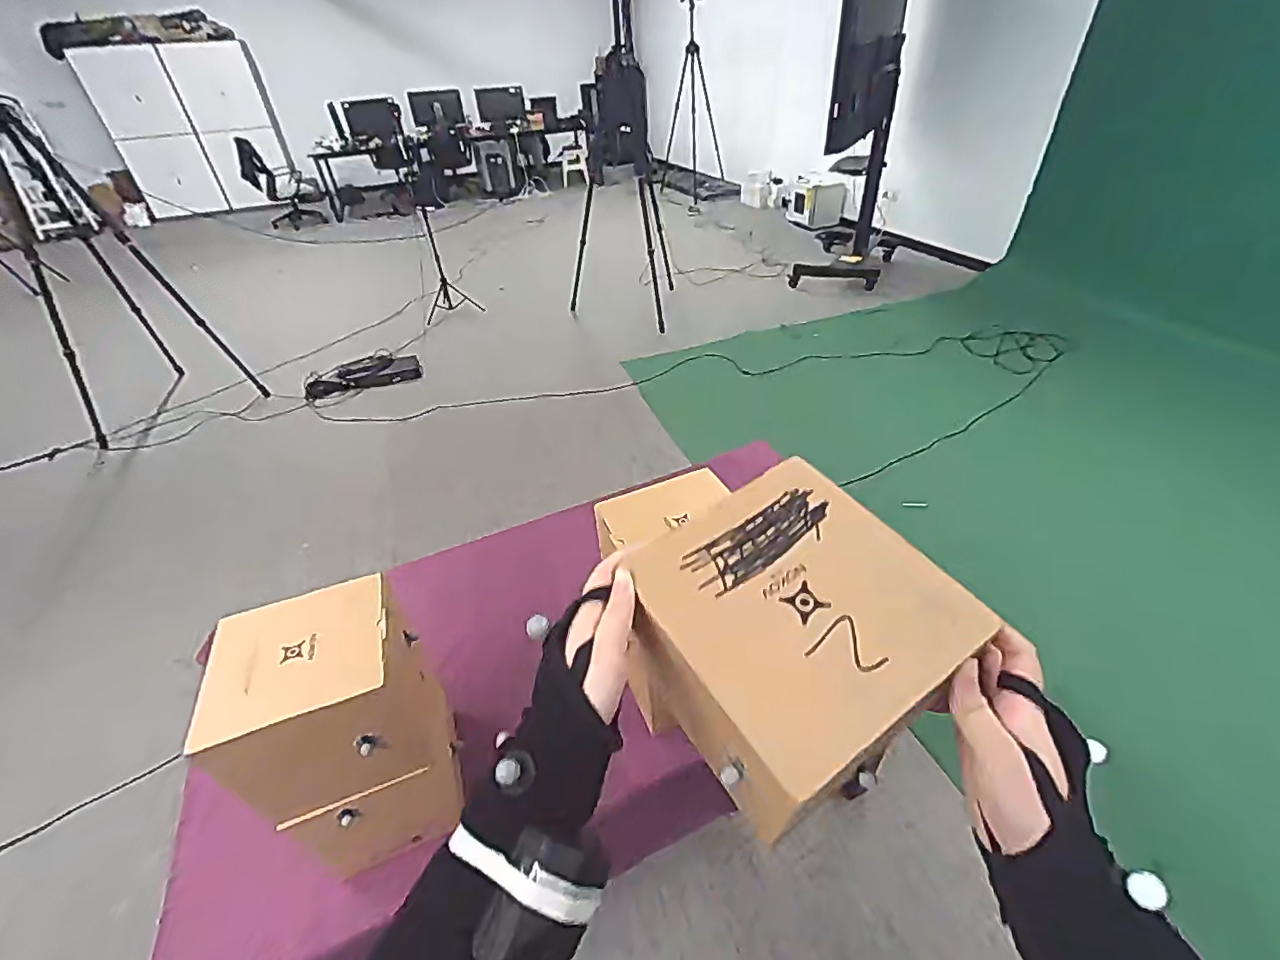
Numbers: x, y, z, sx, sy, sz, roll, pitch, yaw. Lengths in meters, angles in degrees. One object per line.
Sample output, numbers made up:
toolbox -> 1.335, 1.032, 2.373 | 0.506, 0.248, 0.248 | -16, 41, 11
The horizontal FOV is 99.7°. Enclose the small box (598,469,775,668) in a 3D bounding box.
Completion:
small box -> 0.058, 0.118, 0.731 | 0.179, 0.176, 0.168 | -19, 41, -15

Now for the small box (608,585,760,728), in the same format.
small box -> 0.066, 0.245, 0.833 | 0.179, 0.176, 0.168 | -17, 40, -16

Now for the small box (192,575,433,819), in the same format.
small box -> -0.346, 0.244, 0.617 | 0.179, 0.176, 0.168 | -17, 40, -13

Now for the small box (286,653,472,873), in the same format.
small box -> -0.336, 0.371, 0.720 | 0.168, 0.176, 0.179 | -18, 40, -15
